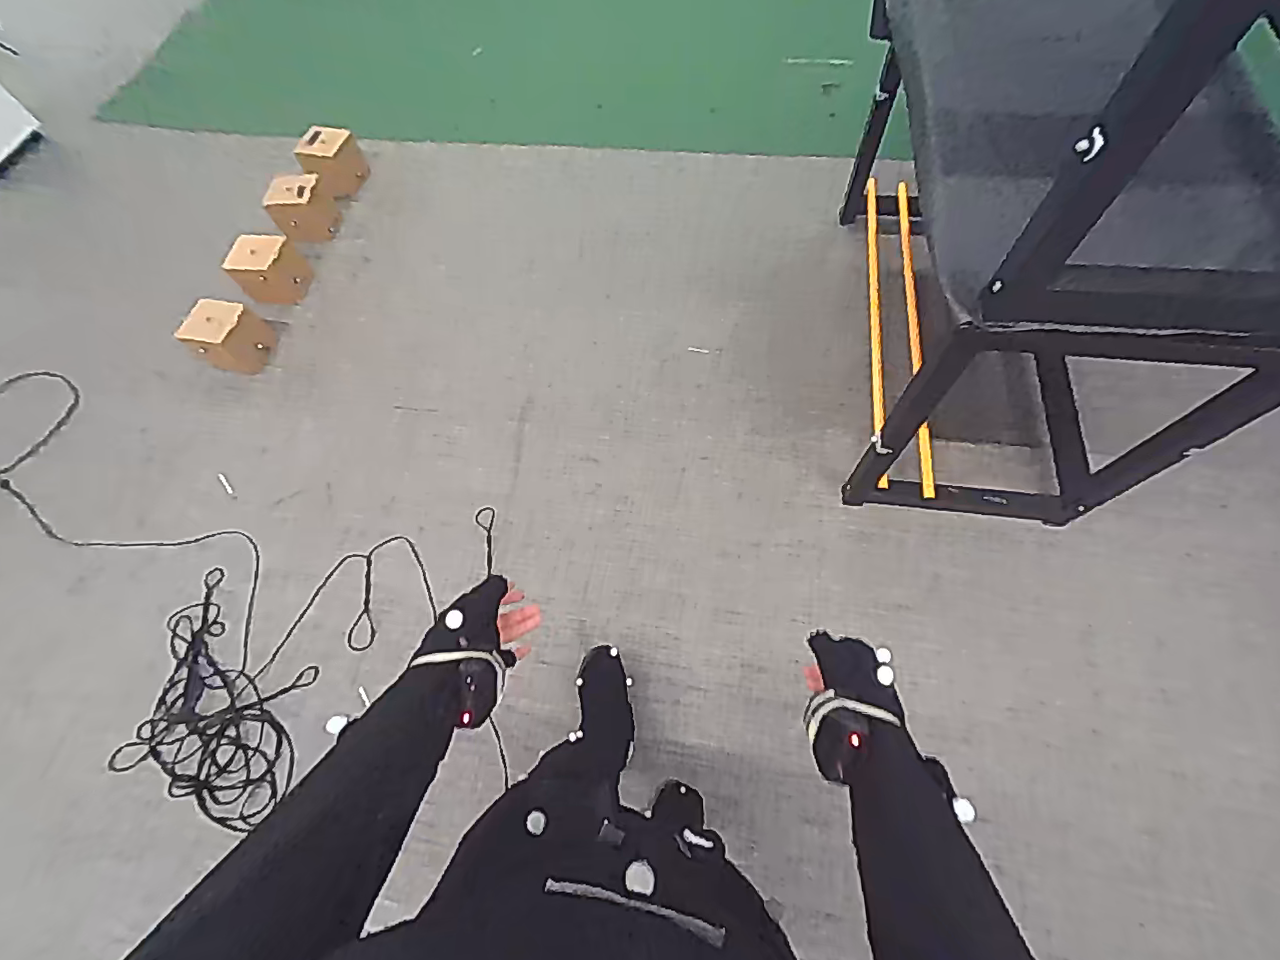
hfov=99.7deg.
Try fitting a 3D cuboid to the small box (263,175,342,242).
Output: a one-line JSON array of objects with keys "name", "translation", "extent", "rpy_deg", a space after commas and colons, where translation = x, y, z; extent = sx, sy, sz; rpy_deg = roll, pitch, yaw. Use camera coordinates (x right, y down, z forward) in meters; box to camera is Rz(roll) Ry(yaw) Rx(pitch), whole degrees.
[{"name": "small box", "translation": [-1.288, -1.042, 2.080], "extent": [0.179, 0.176, 0.168], "rpy_deg": [-1, 64, 5]}]

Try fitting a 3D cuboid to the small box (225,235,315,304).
[{"name": "small box", "translation": [-1.324, -0.755, 1.947], "extent": [0.179, 0.176, 0.168], "rpy_deg": [3, 65, 5]}]

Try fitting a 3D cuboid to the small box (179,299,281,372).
[{"name": "small box", "translation": [-1.371, -0.481, 1.820], "extent": [0.179, 0.176, 0.168], "rpy_deg": [10, 67, 9]}]
